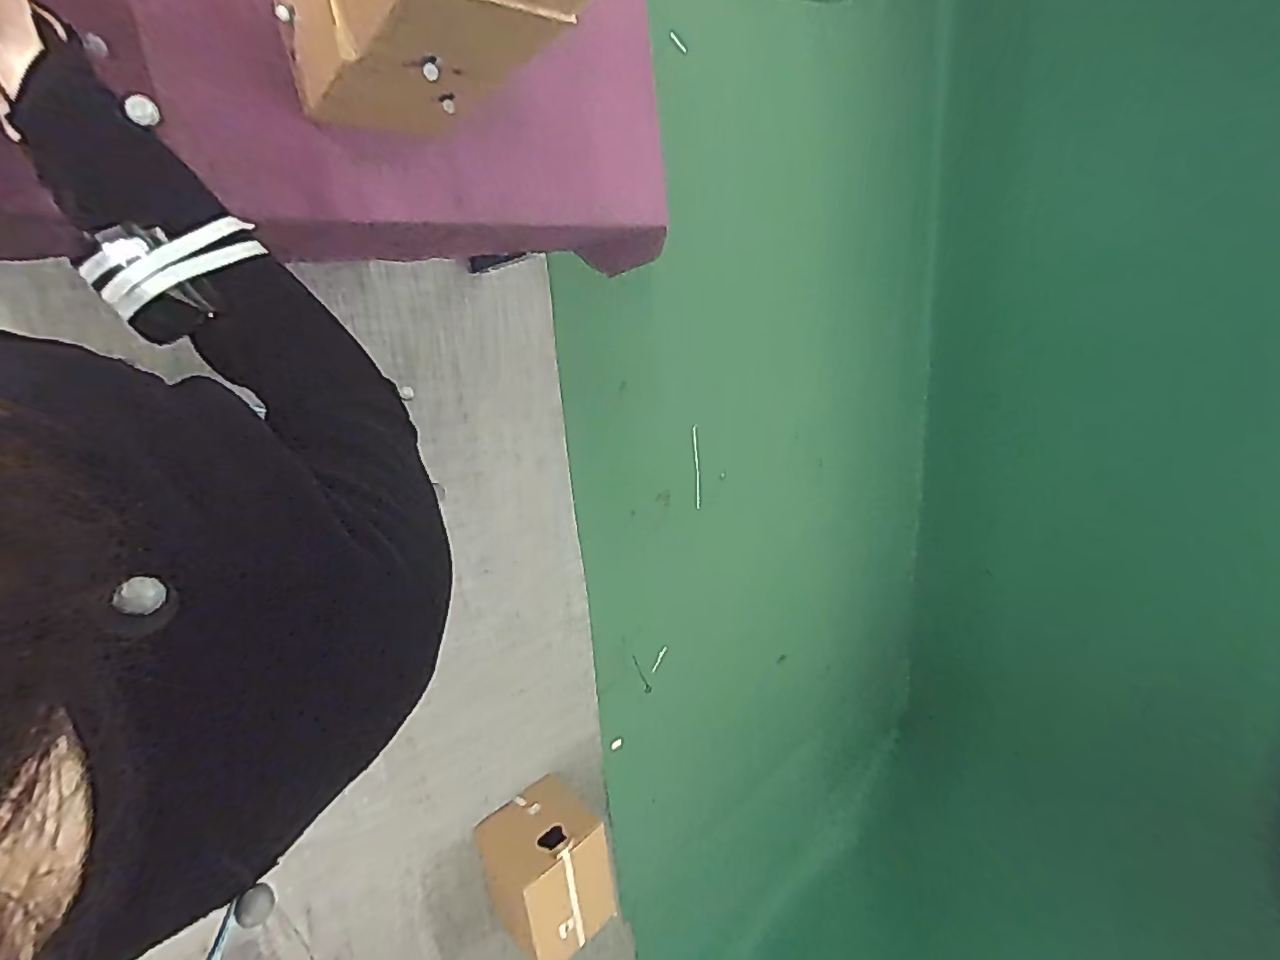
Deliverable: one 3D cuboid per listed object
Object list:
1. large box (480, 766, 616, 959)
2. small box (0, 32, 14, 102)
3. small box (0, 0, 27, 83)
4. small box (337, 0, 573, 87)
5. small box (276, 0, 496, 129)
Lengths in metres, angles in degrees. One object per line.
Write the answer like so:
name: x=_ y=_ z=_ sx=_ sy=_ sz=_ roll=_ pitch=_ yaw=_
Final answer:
large box: x=-0.314 y=1.307 z=1.872 sx=0.320 sy=0.320 sz=0.408 roll=-20 pitch=112 yaw=-40
small box: x=-0.433 y=-0.300 z=0.242 sx=0.168 sy=0.176 sz=0.179 roll=-17 pitch=116 yaw=-41
small box: x=-0.590 y=-0.425 z=0.381 sx=0.168 sy=0.176 sz=0.179 roll=-20 pitch=111 yaw=-39
small box: x=-0.190 y=-0.514 z=0.510 sx=0.168 sy=0.176 sz=0.179 roll=-22 pitch=113 yaw=-37
small box: x=-0.298 y=-0.534 z=0.630 sx=0.179 sy=0.176 sz=0.168 roll=-22 pitch=111 yaw=-38
